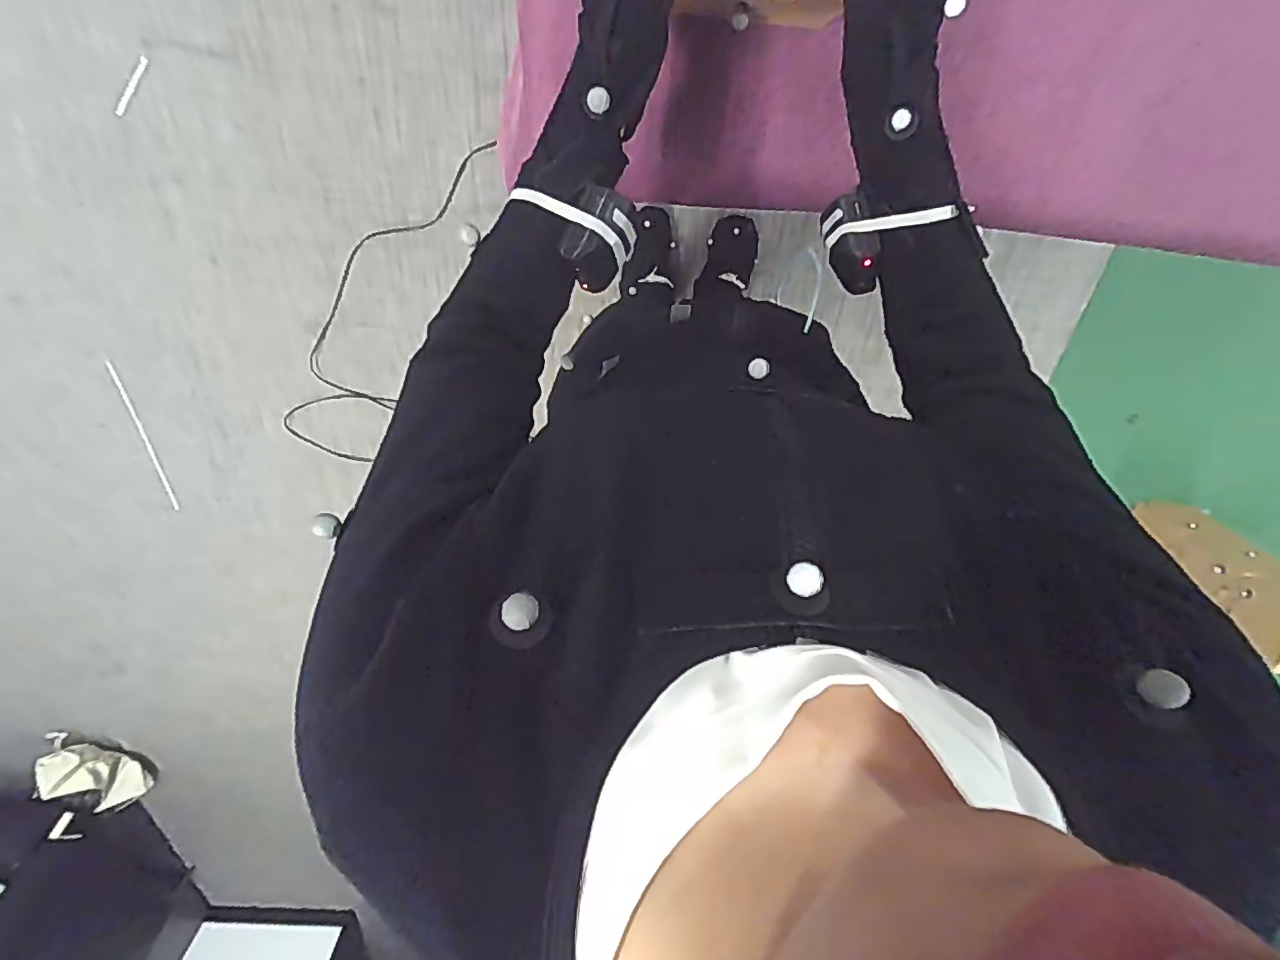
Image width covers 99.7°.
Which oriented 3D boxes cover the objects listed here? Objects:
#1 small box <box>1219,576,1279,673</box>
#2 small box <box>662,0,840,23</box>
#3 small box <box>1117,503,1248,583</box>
[{"bbox_3d":[1.604,0.350,1.320,0.179,0.176,0.168,0,121,0],"label":"small box"},{"bbox_3d":[0.096,-0.475,0.398,0.168,0.176,0.179,5,121,-2],"label":"small box"},{"bbox_3d":[1.595,0.182,1.603,0.179,0.176,0.168,5,120,-1],"label":"small box"}]
